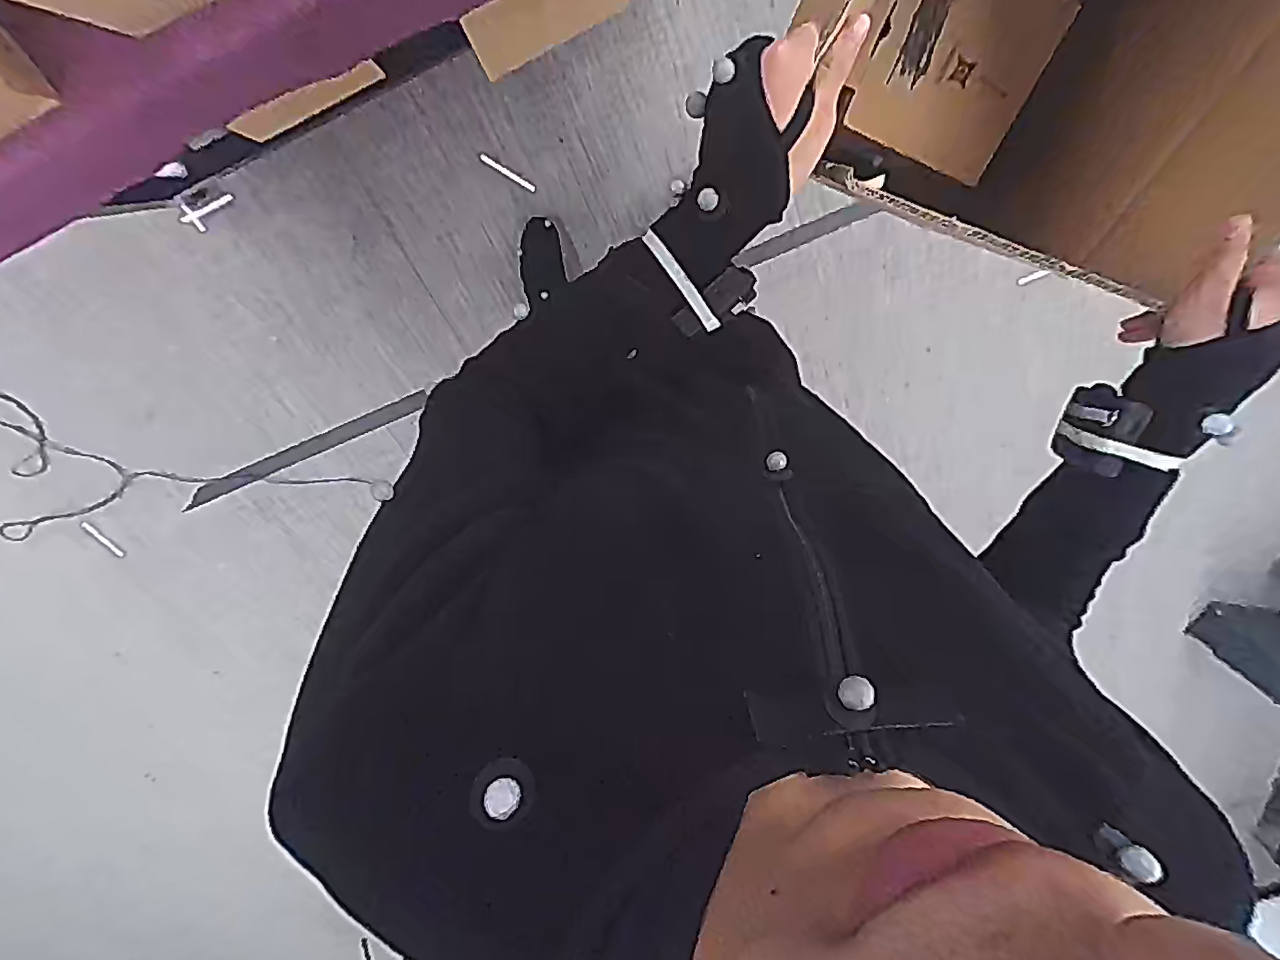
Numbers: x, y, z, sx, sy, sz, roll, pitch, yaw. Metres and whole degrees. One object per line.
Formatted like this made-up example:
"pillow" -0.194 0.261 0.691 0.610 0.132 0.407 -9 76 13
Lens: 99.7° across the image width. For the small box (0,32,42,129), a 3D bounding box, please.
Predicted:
"small box" -0.727 -0.398 0.479 0.179 0.176 0.168 -24 121 4
